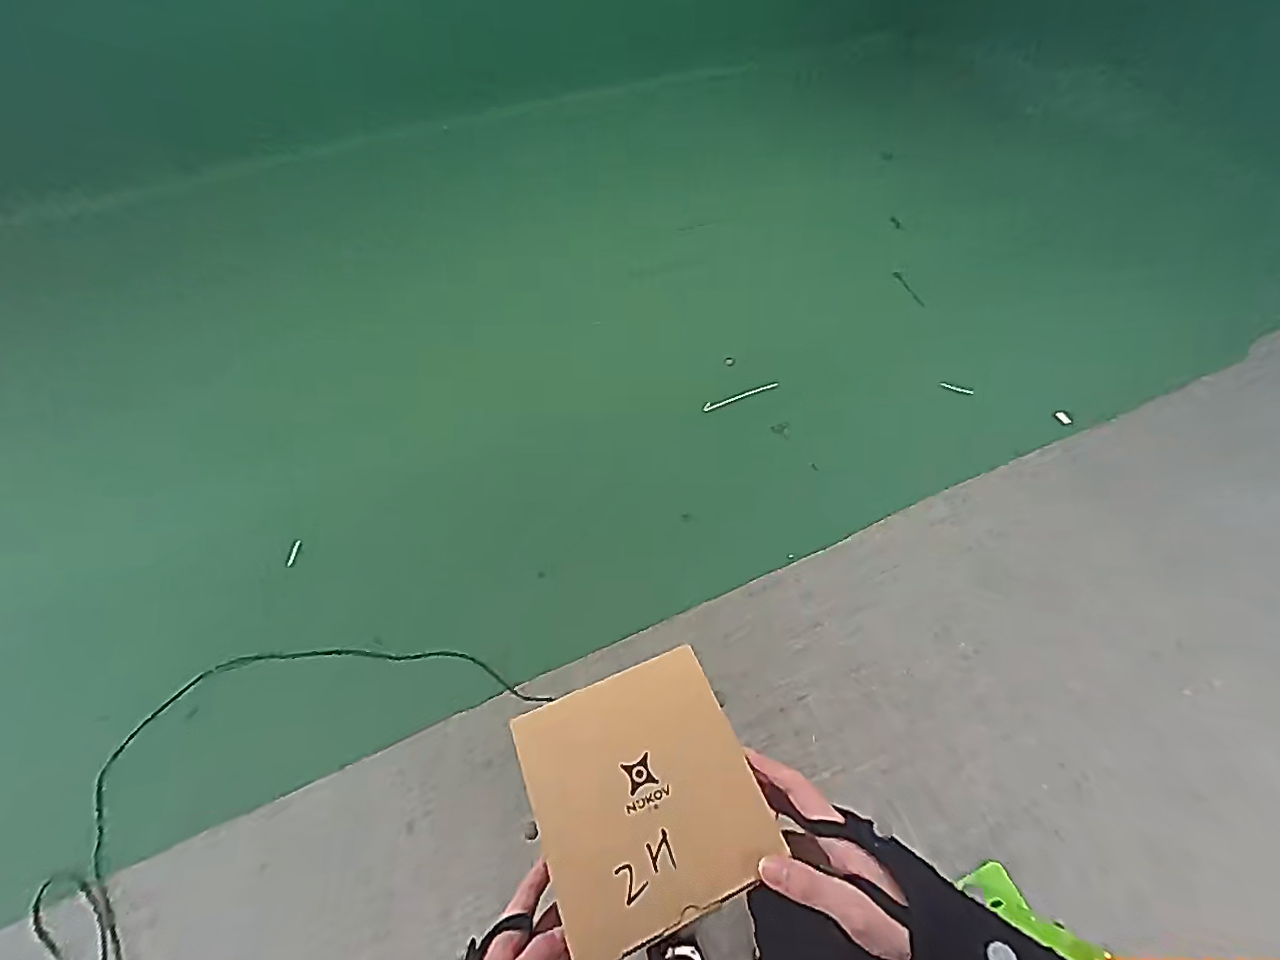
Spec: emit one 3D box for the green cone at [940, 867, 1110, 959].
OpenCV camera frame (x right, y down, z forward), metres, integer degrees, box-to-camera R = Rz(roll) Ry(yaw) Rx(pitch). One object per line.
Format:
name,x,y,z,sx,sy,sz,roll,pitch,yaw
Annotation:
green cone,0.789,0.905,1.040,0.202,0.368,0.200,-21,59,-11
